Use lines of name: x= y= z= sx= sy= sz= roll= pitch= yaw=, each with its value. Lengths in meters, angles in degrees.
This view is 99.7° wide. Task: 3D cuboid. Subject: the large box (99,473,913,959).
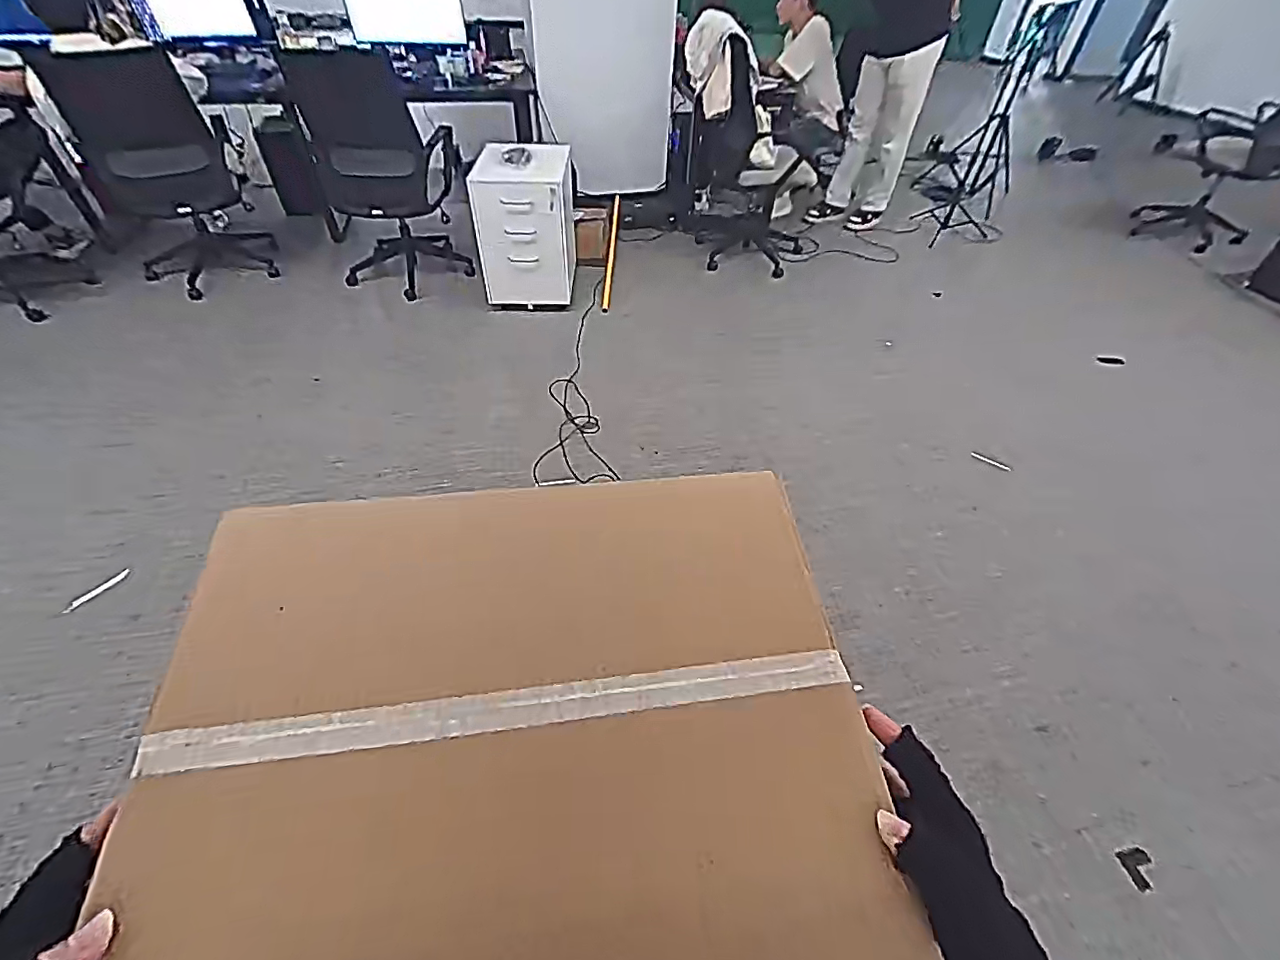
large box: x=-0.080 y=0.219 z=0.456 sx=0.408 sy=0.320 sz=0.320 roll=-4 pitch=56 yaw=-7
